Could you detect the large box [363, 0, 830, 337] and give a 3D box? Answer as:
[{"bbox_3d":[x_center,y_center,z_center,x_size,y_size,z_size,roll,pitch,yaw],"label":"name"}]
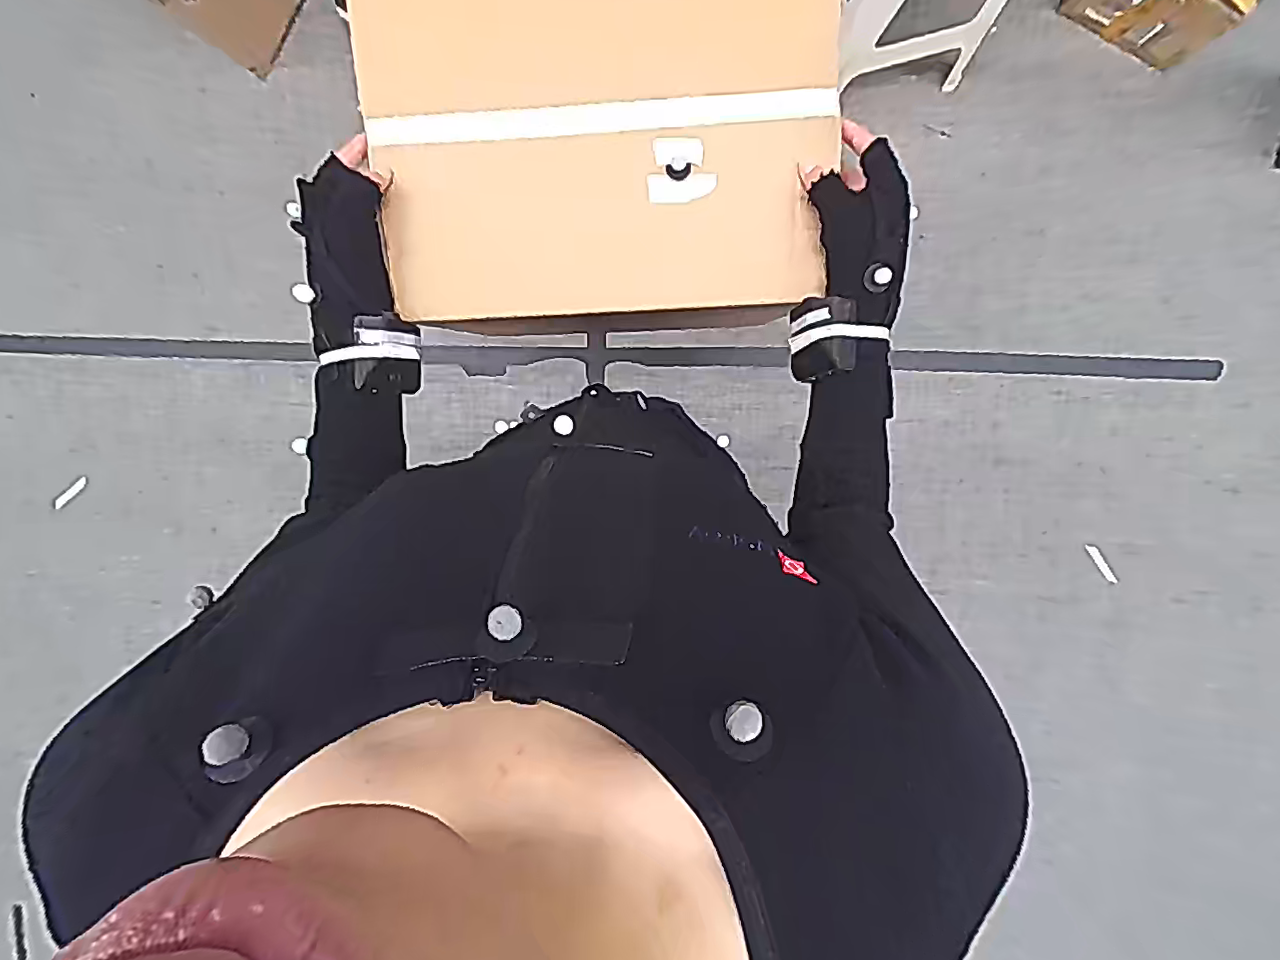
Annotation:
[{"bbox_3d":[-0.032,-0.344,0.622,0.408,0.320,0.320,-2,102,2],"label":"large box"}]
